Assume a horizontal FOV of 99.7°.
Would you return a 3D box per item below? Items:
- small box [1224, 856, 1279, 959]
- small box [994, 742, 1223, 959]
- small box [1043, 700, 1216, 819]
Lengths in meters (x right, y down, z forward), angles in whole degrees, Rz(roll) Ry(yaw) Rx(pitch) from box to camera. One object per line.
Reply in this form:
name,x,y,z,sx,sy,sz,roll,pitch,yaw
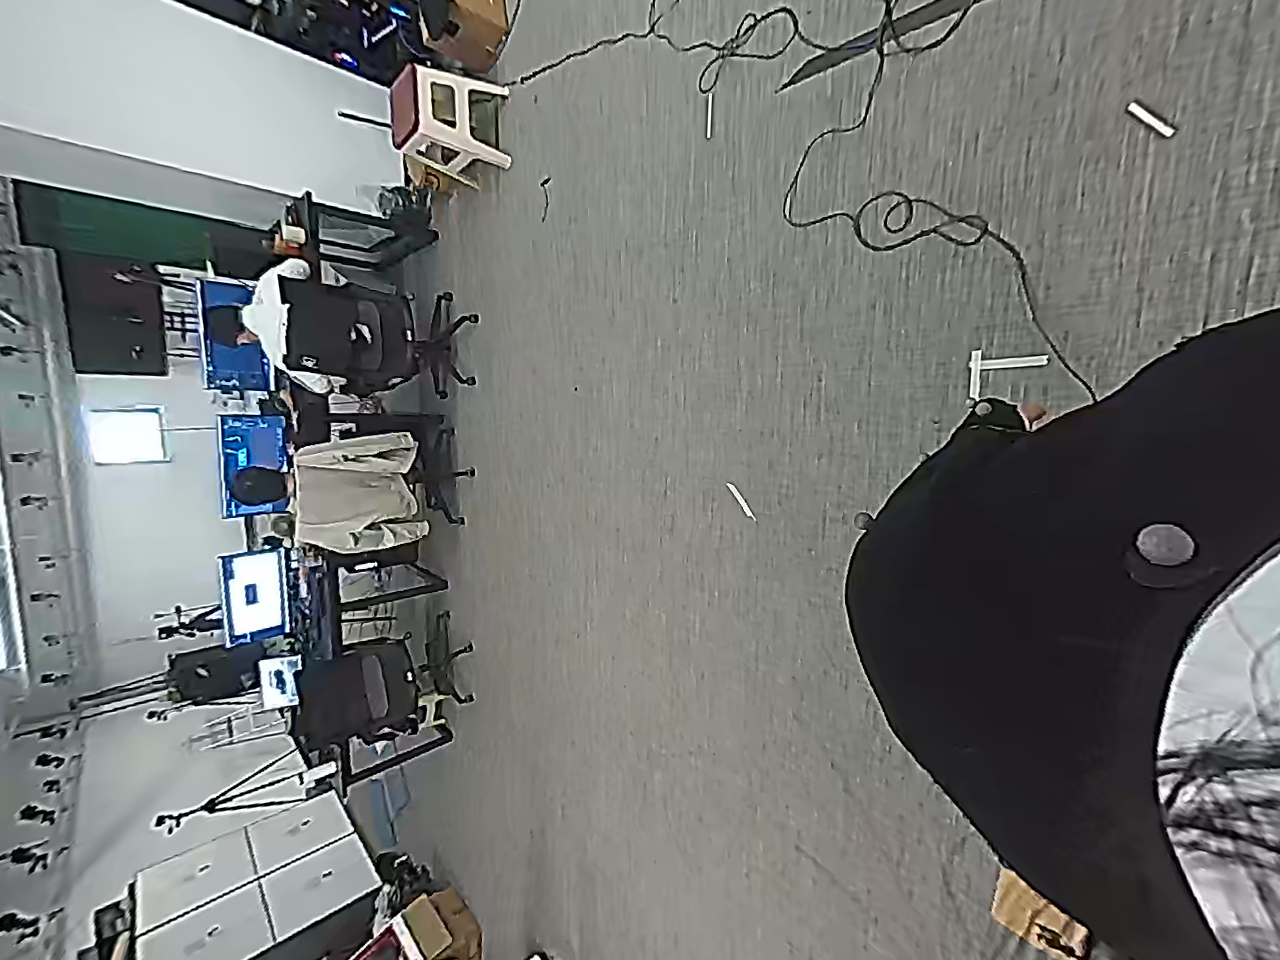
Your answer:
small box,0.809,0.598,0.625,0.168,0.176,0.179,10,100,44
small box,0.555,0.451,0.645,0.168,0.176,0.179,15,103,46
small box,0.675,0.443,0.756,0.168,0.176,0.179,10,99,46
